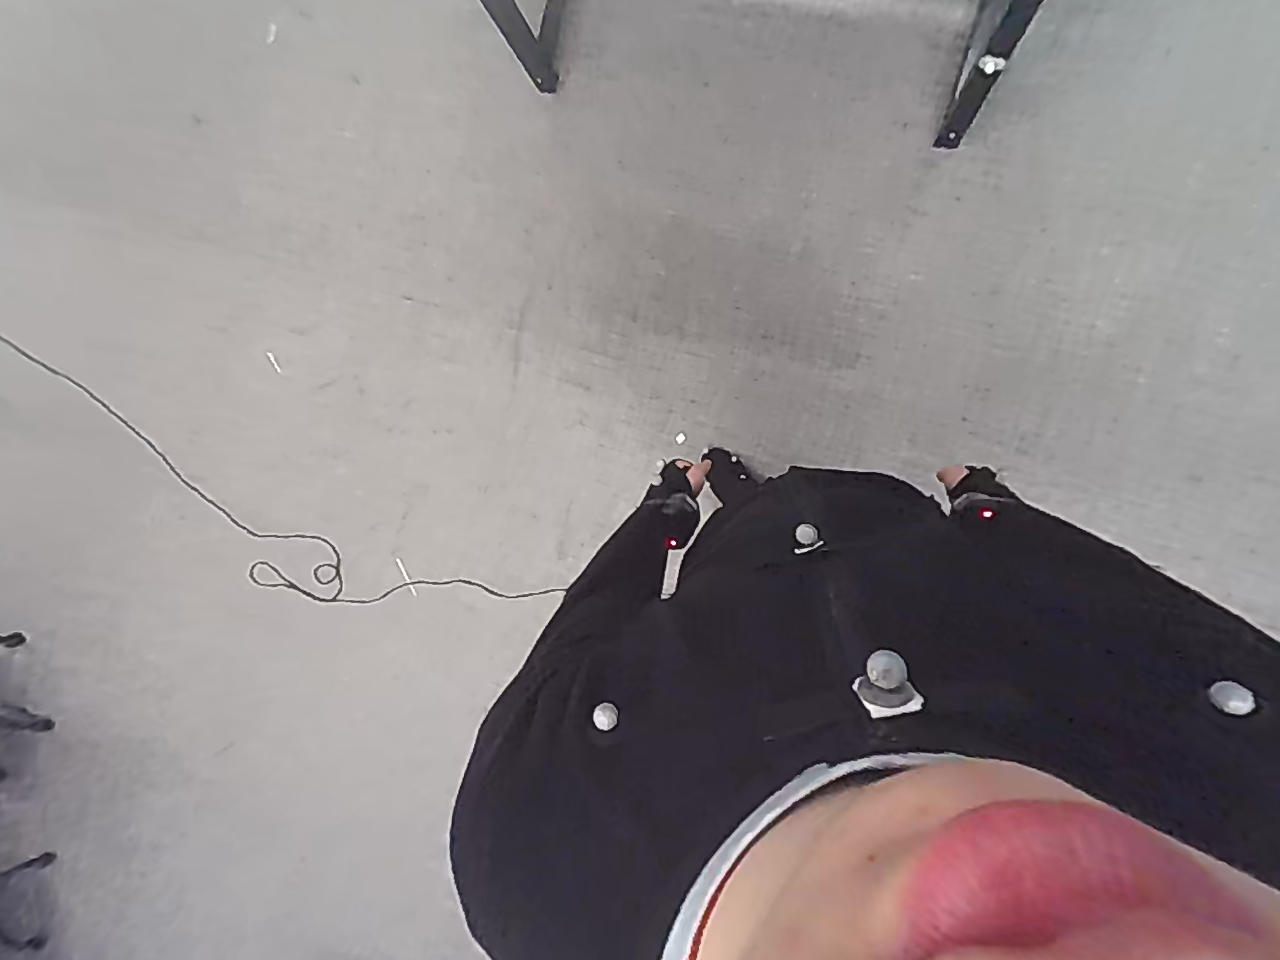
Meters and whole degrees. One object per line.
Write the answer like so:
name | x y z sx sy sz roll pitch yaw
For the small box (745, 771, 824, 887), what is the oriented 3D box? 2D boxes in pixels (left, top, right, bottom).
small box | 0.390 0.942 1.474 0.168 0.176 0.179 14 94 11
